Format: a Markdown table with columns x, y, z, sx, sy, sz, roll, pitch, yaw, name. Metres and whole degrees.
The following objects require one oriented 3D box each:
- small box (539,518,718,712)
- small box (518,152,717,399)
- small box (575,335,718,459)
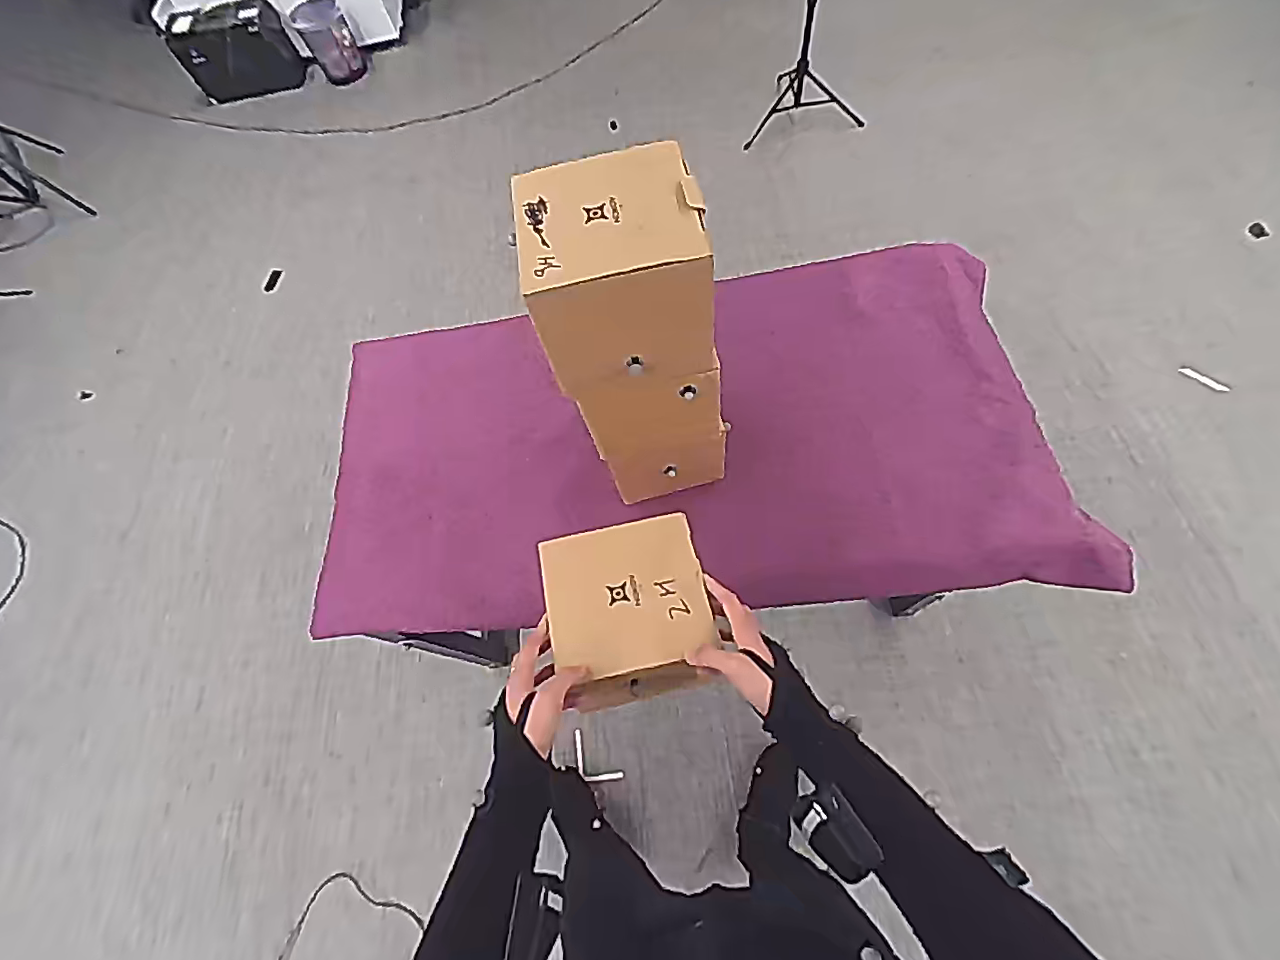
| x | y | z | sx | sy | sz | roll | pitch | yaw | name |
| --- | --- | --- | --- | --- | --- | --- | --- | --- | --- |
| -0.014 | 0.169 | 0.654 | 0.179 | 0.176 | 0.168 | -11 | 59 | -4 | small box |
| -0.021 | -0.210 | 0.584 | 0.179 | 0.176 | 0.168 | -10 | 63 | 2 | small box |
| 0.007 | -0.144 | 0.732 | 0.179 | 0.176 | 0.168 | -11 | 64 | 2 | small box |
